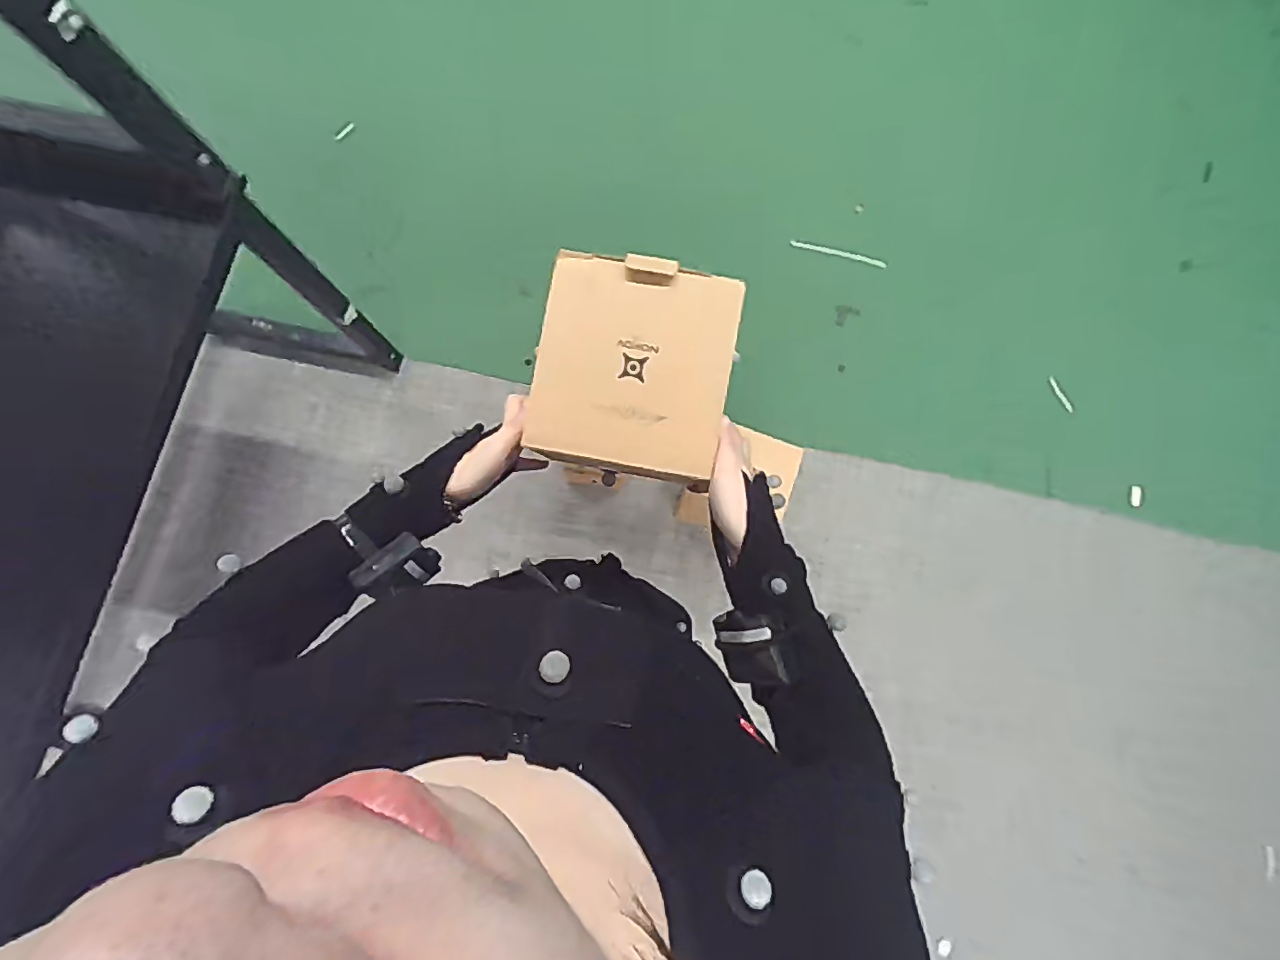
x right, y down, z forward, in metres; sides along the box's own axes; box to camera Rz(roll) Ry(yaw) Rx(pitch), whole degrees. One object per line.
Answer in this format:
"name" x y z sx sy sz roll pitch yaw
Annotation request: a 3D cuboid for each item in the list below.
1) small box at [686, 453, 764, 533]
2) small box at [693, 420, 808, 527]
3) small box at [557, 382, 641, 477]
"small box" 0.225 0.023 1.311 0.179 0.176 0.168 24 81 1
"small box" 0.225 -0.004 1.150 0.179 0.176 0.168 21 81 0
"small box" -0.095 -0.115 1.322 0.168 0.176 0.179 12 79 0
